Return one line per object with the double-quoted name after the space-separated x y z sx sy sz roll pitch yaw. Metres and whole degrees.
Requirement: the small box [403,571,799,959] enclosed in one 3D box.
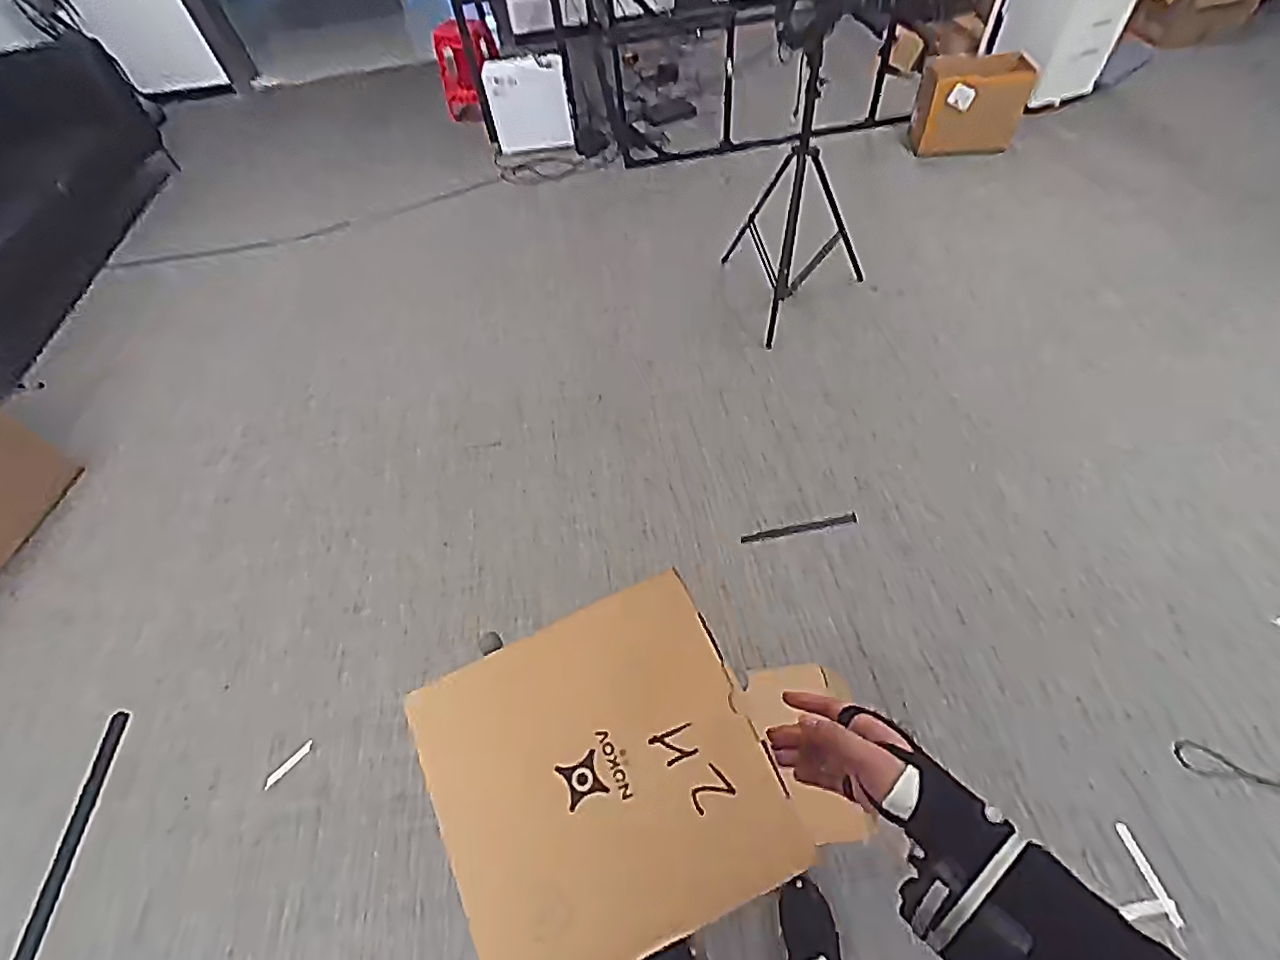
-0.022 0.183 0.370 0.179 0.176 0.168 -25 73 -5 "small box"
